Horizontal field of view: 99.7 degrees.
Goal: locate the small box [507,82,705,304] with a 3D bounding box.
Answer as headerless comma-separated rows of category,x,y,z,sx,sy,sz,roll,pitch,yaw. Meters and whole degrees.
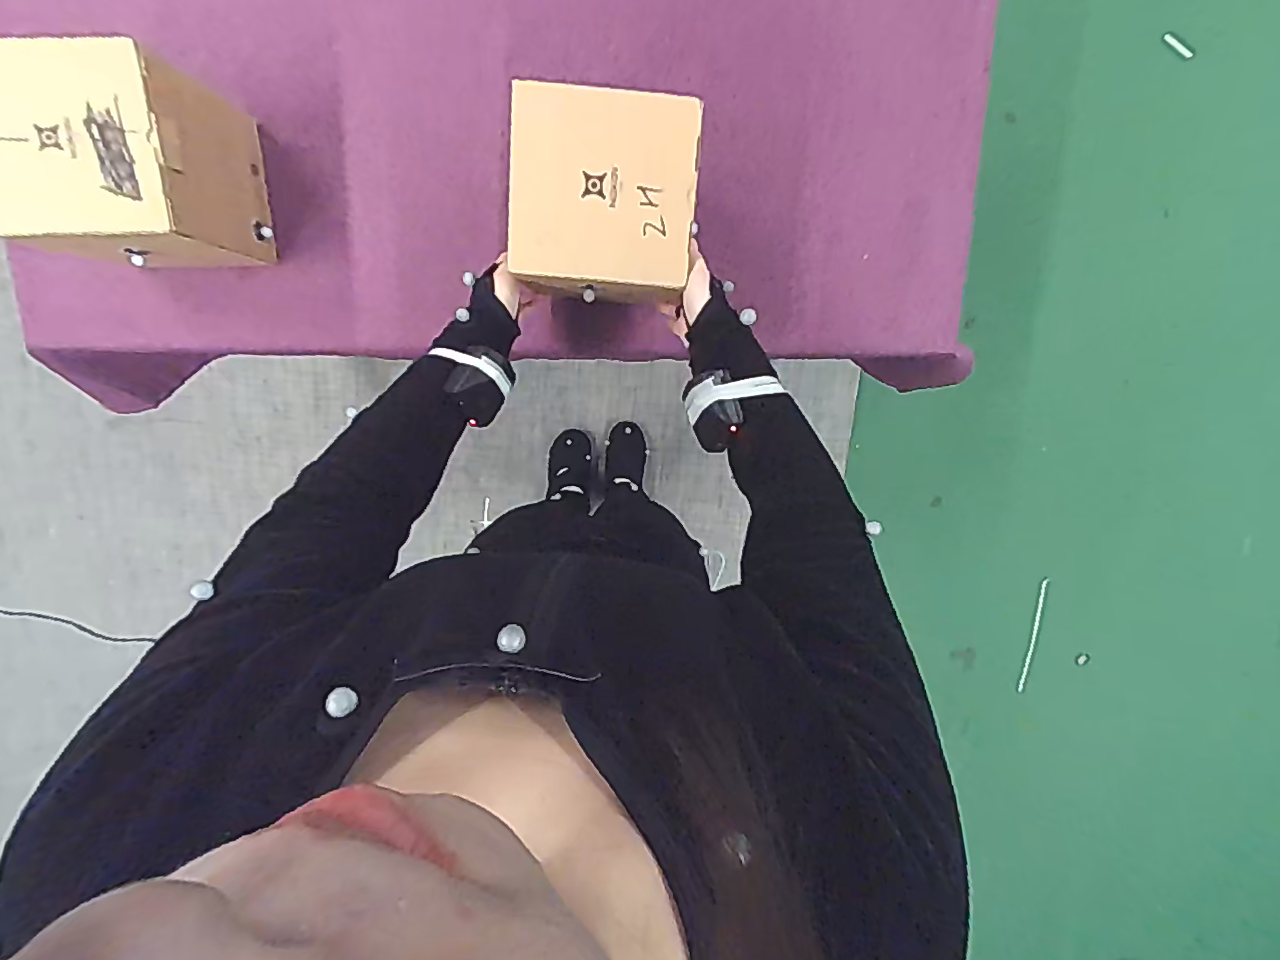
small box,-0.035,-0.287,0.581,0.179,0.176,0.168,5,103,-3

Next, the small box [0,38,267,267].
small box,-0.534,-0.329,0.576,0.179,0.176,0.168,-2,101,-1
